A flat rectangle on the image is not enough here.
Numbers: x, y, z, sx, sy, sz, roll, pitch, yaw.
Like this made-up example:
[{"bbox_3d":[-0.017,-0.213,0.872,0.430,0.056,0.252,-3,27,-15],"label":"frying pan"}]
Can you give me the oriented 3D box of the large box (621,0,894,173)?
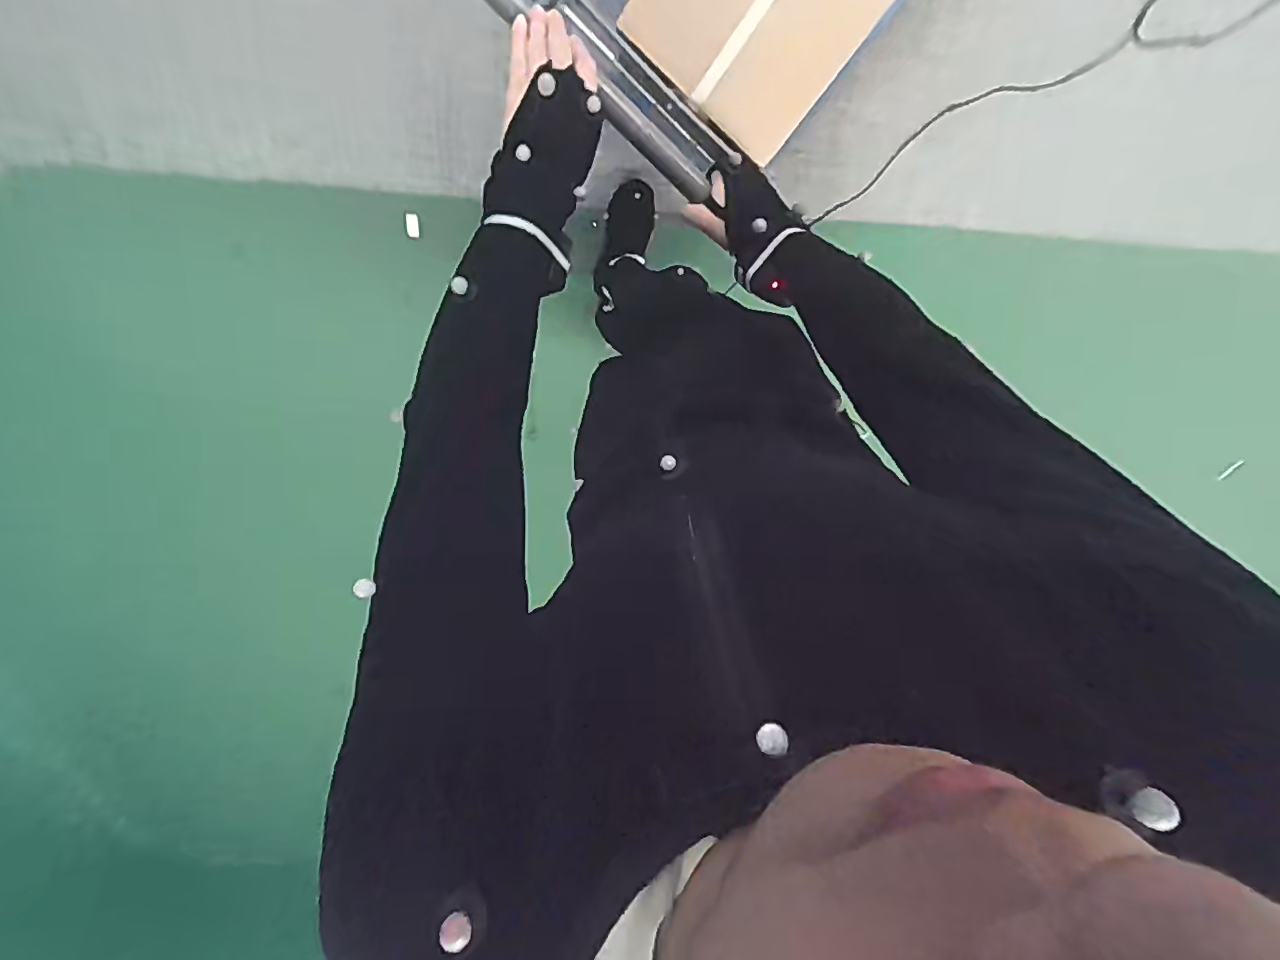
[{"bbox_3d":[0.202,-0.817,0.937,0.320,0.320,0.408,33,115,-20],"label":"large box"}]
